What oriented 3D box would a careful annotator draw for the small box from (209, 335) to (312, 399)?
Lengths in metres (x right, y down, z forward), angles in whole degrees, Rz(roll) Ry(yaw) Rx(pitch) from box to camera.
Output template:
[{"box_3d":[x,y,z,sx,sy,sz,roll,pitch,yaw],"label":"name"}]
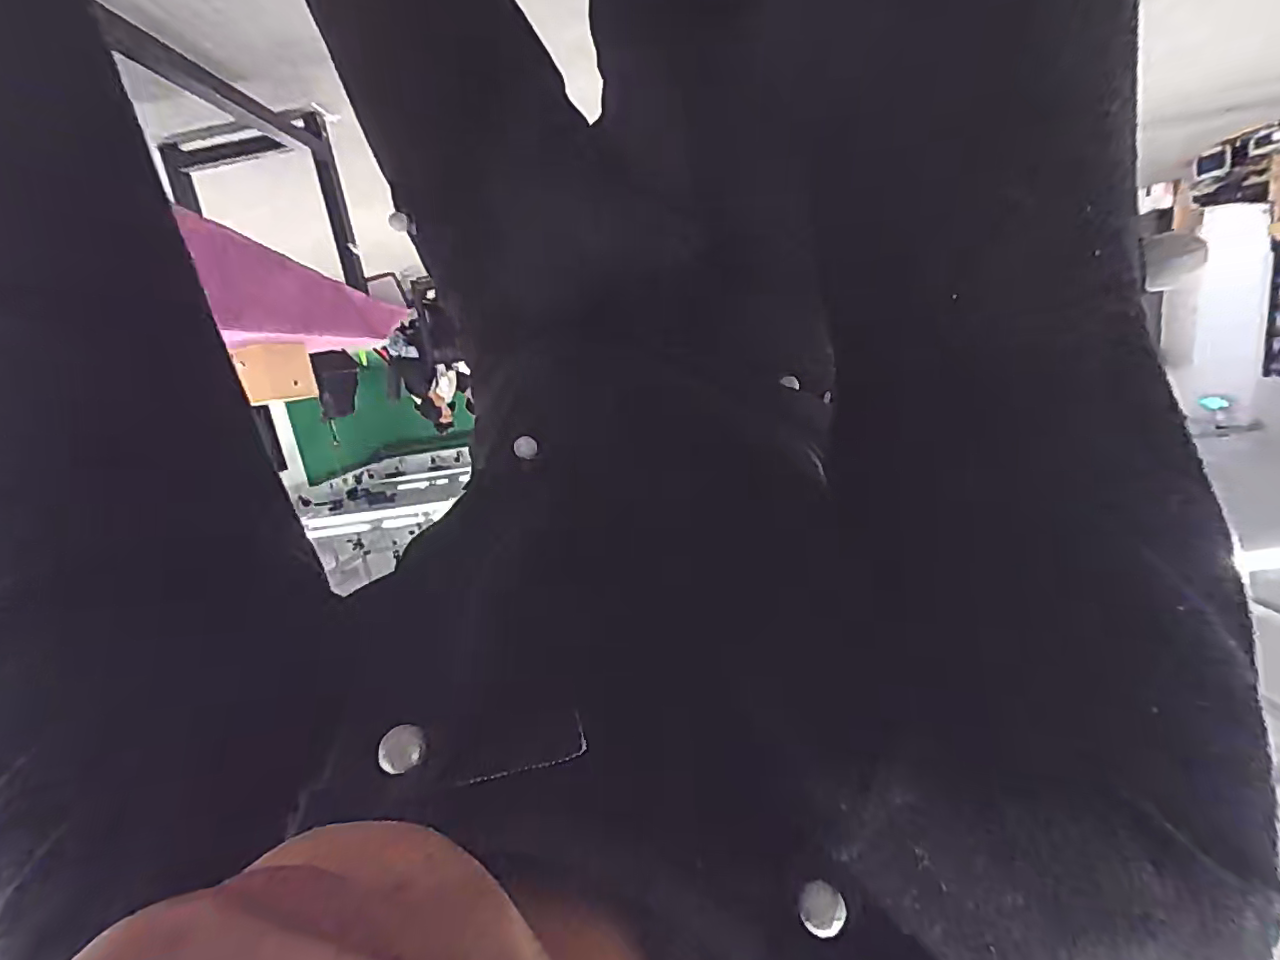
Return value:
[{"box_3d":[-1.164,-0.351,1.664,0.168,0.176,0.179,-6,-167,14],"label":"small box"}]
